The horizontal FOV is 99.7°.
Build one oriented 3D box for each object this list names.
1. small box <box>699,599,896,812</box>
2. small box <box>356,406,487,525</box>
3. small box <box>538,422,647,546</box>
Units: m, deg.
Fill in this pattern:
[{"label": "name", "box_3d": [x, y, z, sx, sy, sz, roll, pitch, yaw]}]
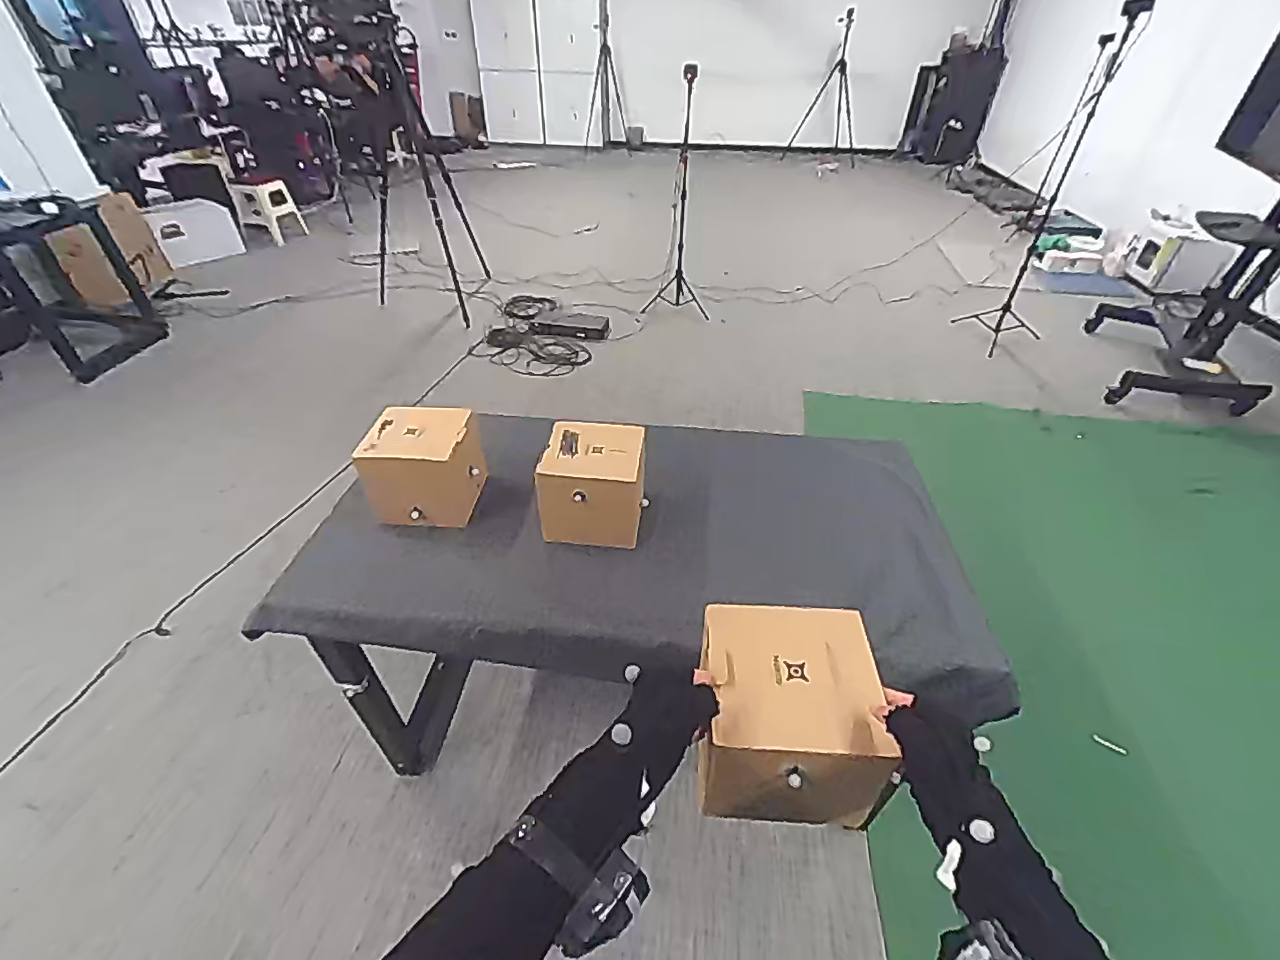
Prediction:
[{"label": "small box", "box_3d": [0.158, 0.256, 0.616, 0.179, 0.176, 0.168, 2, 39, 2]}, {"label": "small box", "box_3d": [-0.413, -0.027, 1.062, 0.179, 0.176, 0.168, 4, 40, 1]}, {"label": "small box", "box_3d": [-0.082, 0.008, 1.029, 0.179, 0.176, 0.168, 5, 40, 4]}]
